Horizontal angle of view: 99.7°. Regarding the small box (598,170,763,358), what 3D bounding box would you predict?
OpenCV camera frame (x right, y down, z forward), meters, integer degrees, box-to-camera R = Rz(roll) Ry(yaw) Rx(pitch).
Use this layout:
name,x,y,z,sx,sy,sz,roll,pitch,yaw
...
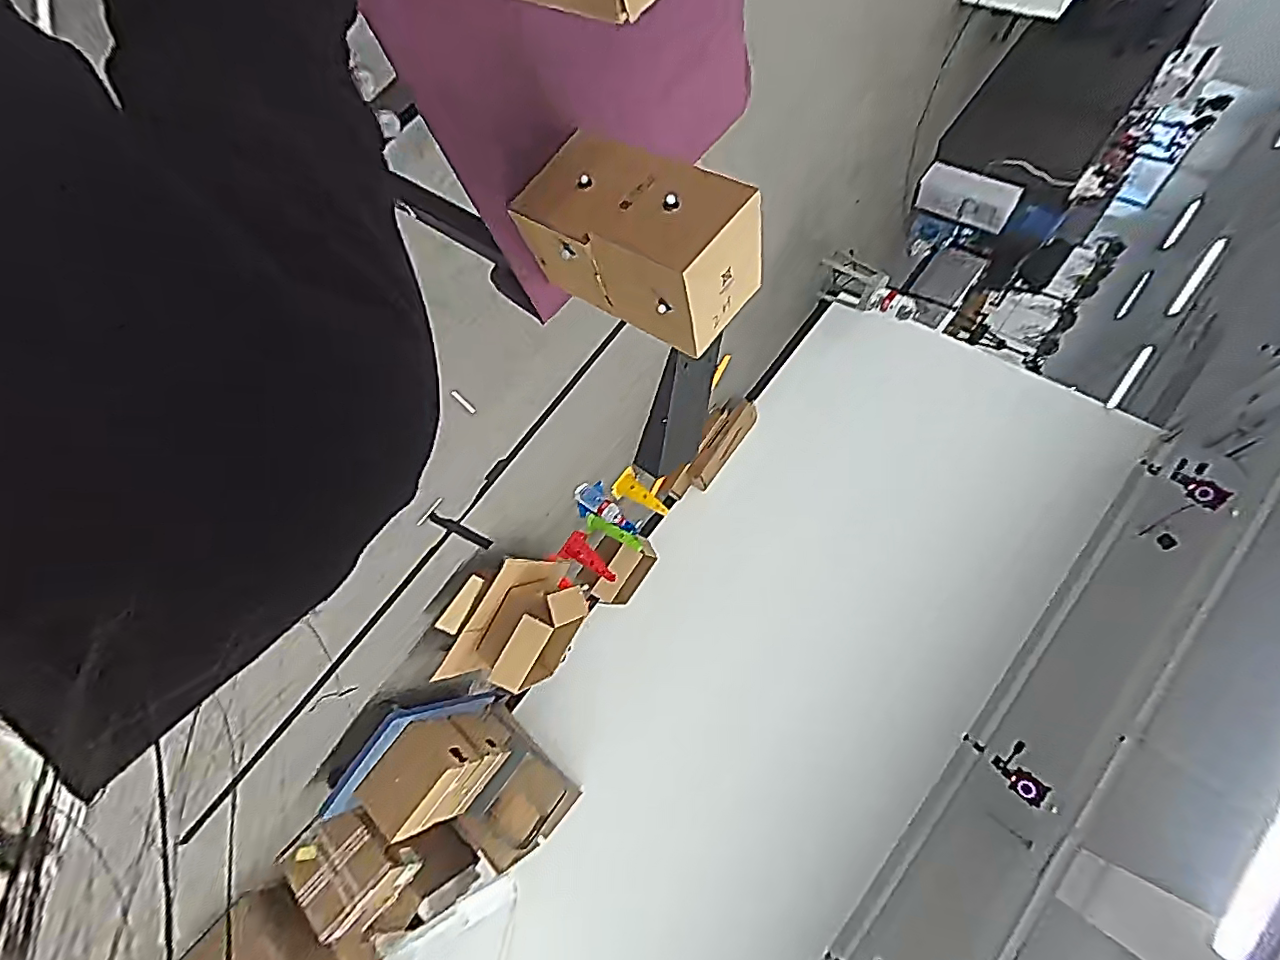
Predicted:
name,x,y,z,sx,sy,sz,roll,pitch,yaw
small box,0.062,-0.319,0.789,0.168,0.176,0.179,-50,156,-12
